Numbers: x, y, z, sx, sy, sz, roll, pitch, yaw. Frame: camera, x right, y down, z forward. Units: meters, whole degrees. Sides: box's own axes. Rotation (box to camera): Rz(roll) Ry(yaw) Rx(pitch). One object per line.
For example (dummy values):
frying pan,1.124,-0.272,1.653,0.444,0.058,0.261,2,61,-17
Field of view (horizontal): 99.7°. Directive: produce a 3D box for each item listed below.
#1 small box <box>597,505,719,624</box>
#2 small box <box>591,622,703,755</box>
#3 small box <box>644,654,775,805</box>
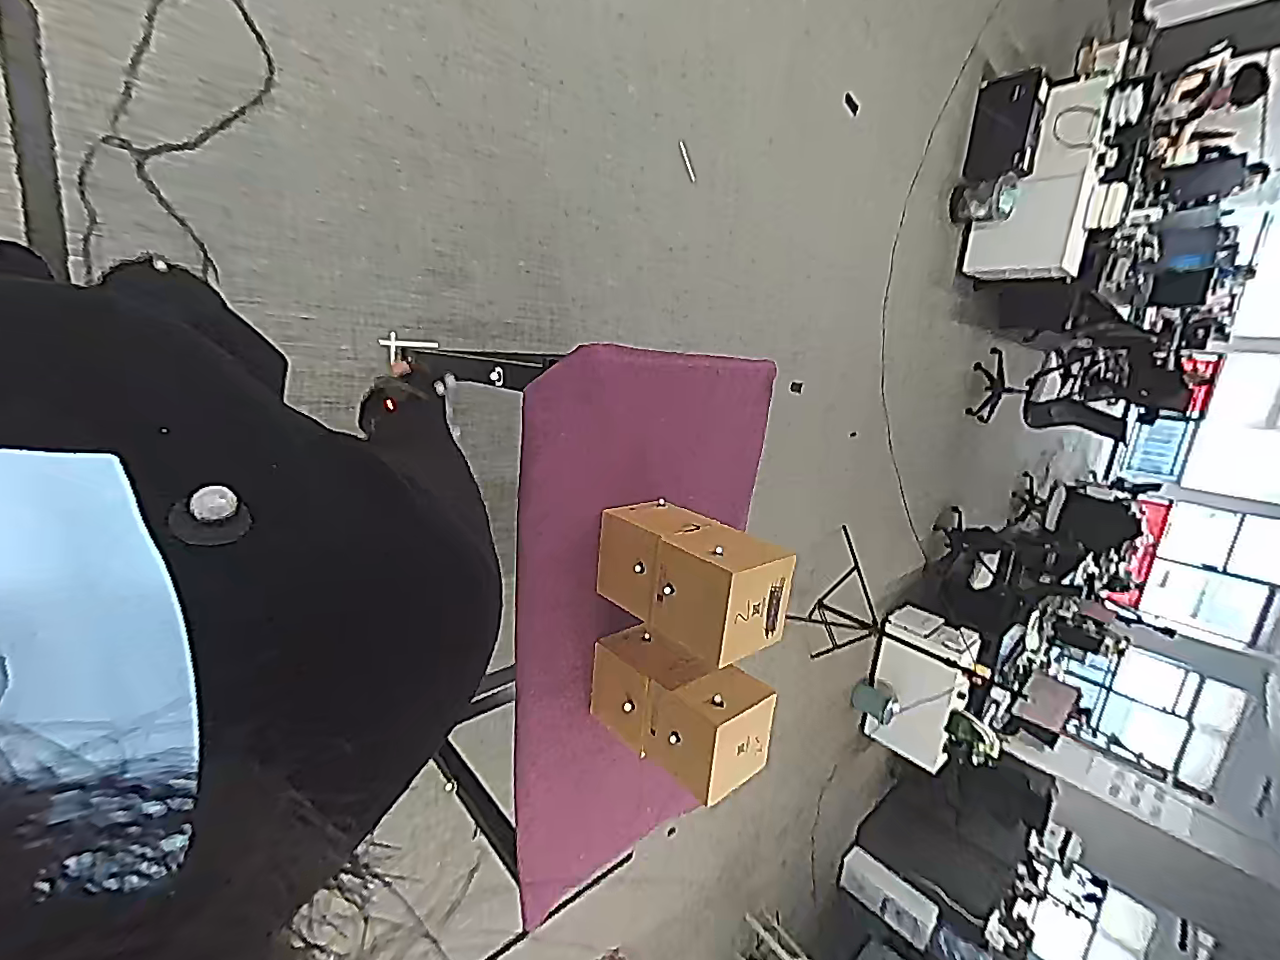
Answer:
small box,0.031,0.154,1.068,0.168,0.176,0.179,-7,109,-42
small box,0.011,0.429,1.141,0.168,0.176,0.179,-6,107,-42
small box,0.127,0.460,1.028,0.179,0.176,0.168,-6,108,-42
